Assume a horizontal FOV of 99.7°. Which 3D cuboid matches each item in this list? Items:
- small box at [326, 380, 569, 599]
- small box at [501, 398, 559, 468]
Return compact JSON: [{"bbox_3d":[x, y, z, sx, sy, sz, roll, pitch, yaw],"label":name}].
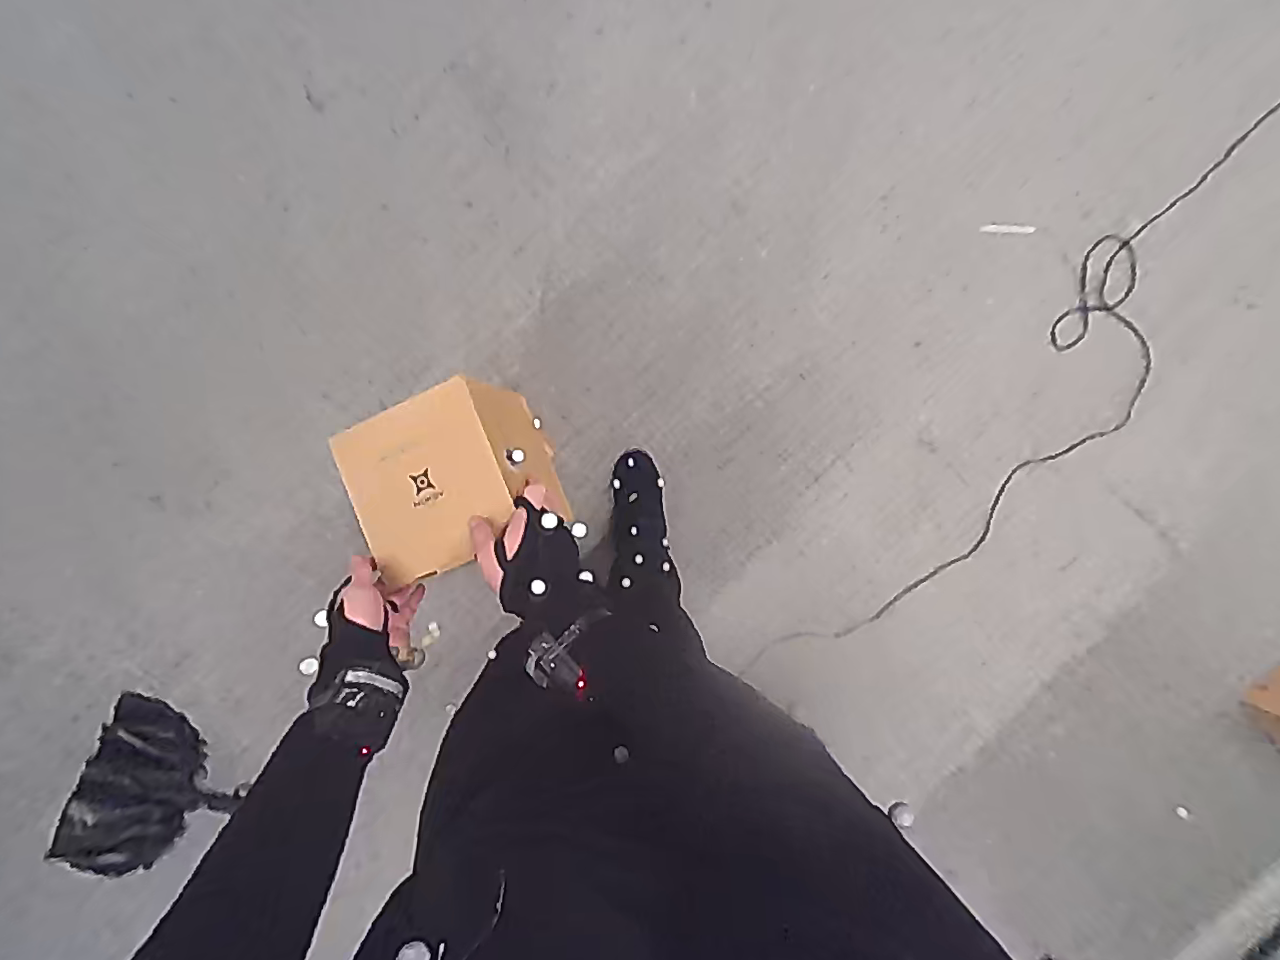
[{"bbox_3d":[-0.202,0.009,0.615,0.168,0.176,0.179,-25,86,9],"label":"small box"},{"bbox_3d":[-0.299,-0.061,1.203,0.168,0.176,0.179,-44,97,1],"label":"small box"}]
